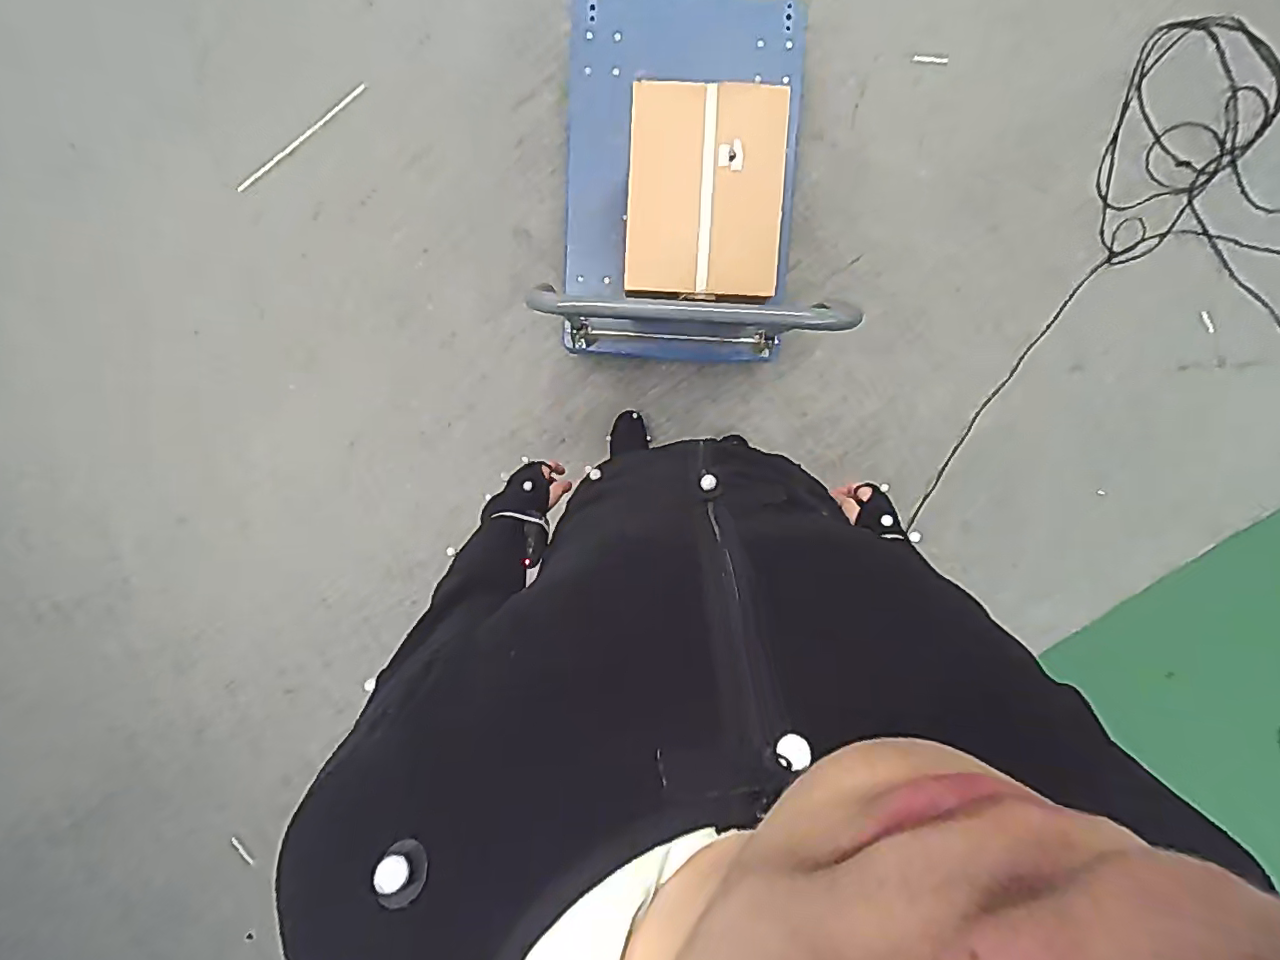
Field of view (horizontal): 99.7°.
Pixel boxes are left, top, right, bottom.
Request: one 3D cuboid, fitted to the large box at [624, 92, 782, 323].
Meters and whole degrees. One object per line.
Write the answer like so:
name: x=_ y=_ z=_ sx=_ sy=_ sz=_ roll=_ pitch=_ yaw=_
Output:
large box: x=0.131 y=-0.597 z=1.260 sx=0.320 sy=0.320 sz=0.408 roll=3 pitch=96 yaw=0
